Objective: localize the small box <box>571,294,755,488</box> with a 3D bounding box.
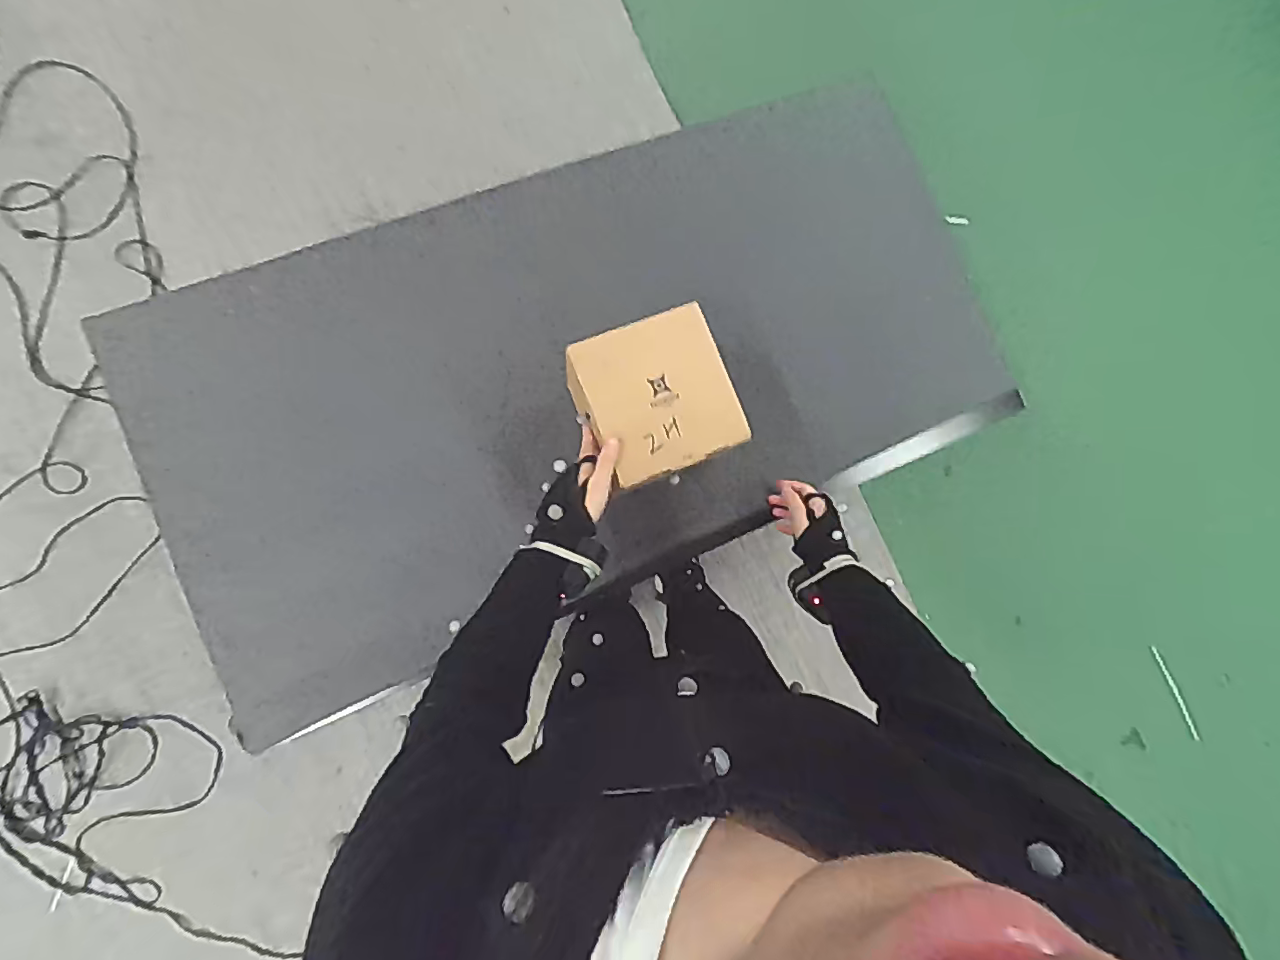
[{"bbox_3d":[0.017,-0.101,0.689,0.168,0.176,0.179,-22,88,-8],"label":"small box"}]
